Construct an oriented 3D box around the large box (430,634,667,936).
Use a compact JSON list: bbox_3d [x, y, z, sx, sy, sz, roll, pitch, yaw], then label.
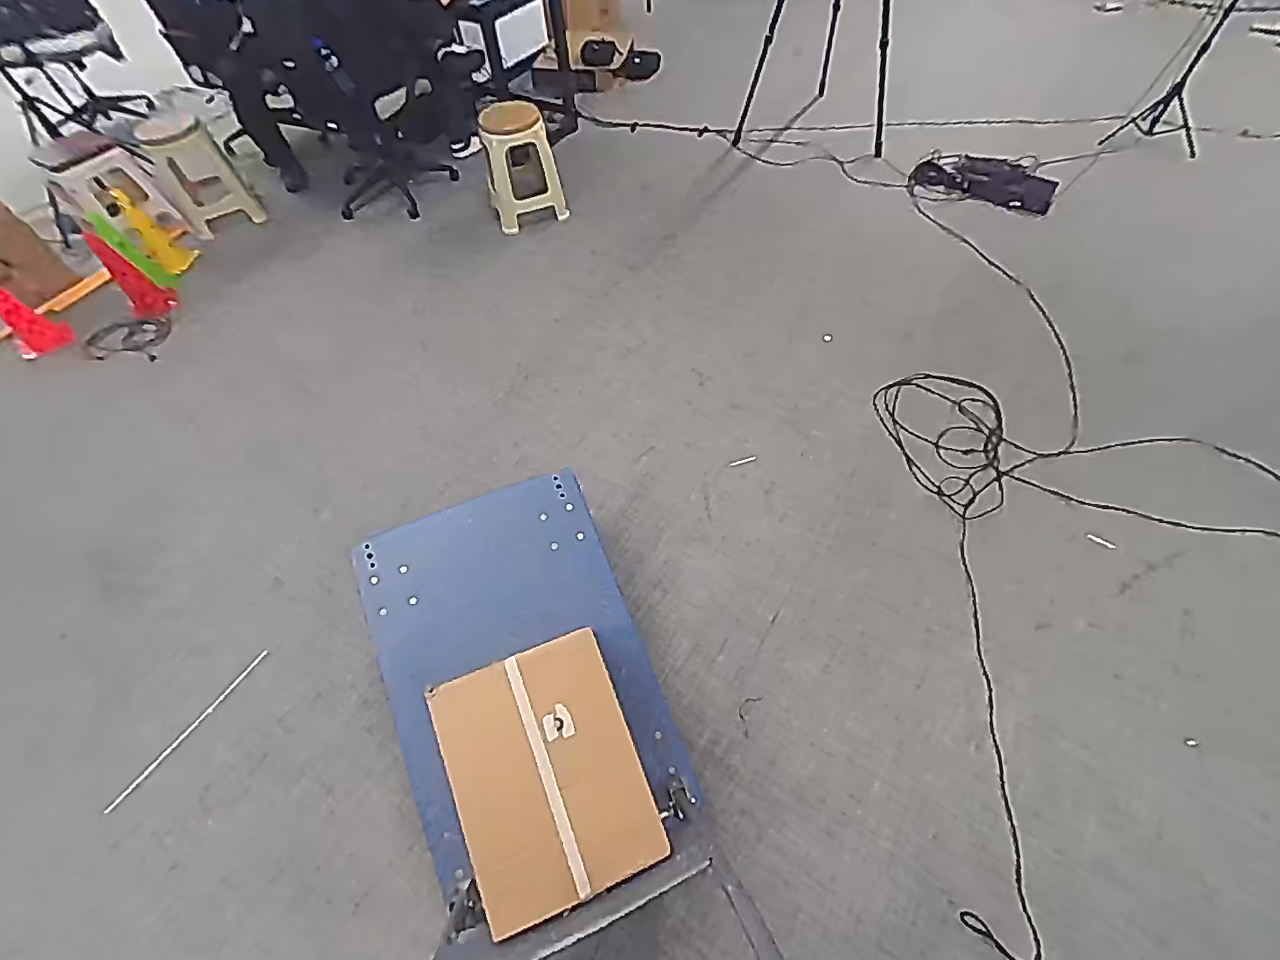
[{"bbox_3d":[-0.174,0.563,1.093,0.320,0.320,0.408,-20,75,-11],"label":"large box"}]
